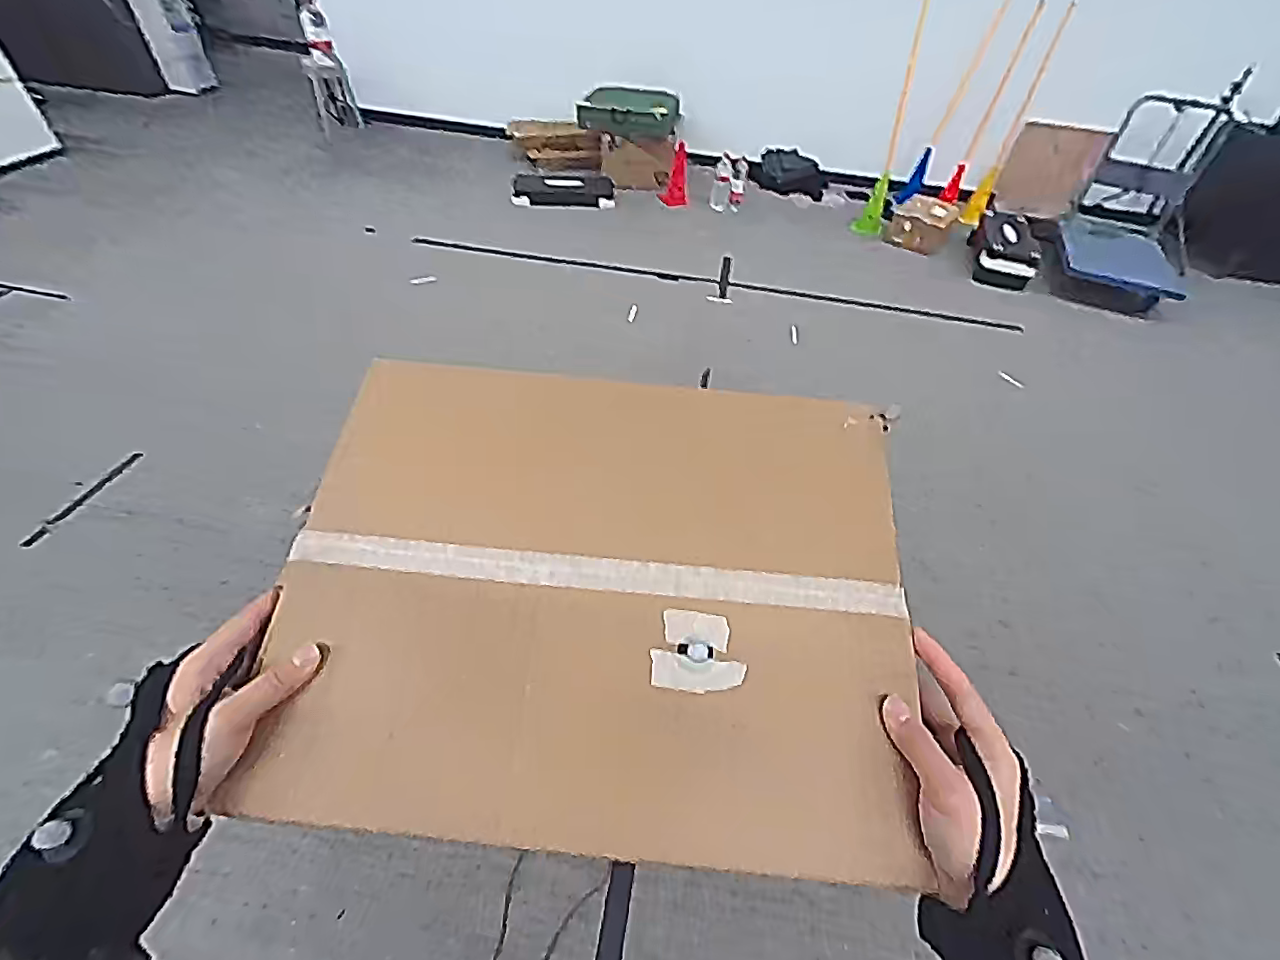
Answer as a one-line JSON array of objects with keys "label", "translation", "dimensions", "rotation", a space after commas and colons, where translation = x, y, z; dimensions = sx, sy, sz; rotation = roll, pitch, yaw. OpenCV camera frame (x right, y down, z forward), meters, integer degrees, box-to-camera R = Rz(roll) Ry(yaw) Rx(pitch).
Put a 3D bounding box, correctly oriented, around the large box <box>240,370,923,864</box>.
[{"label": "large box", "translation": [-0.027, 0.127, 0.506], "dimensions": [0.408, 0.320, 0.320], "rotation": [6, 65, 1]}]
